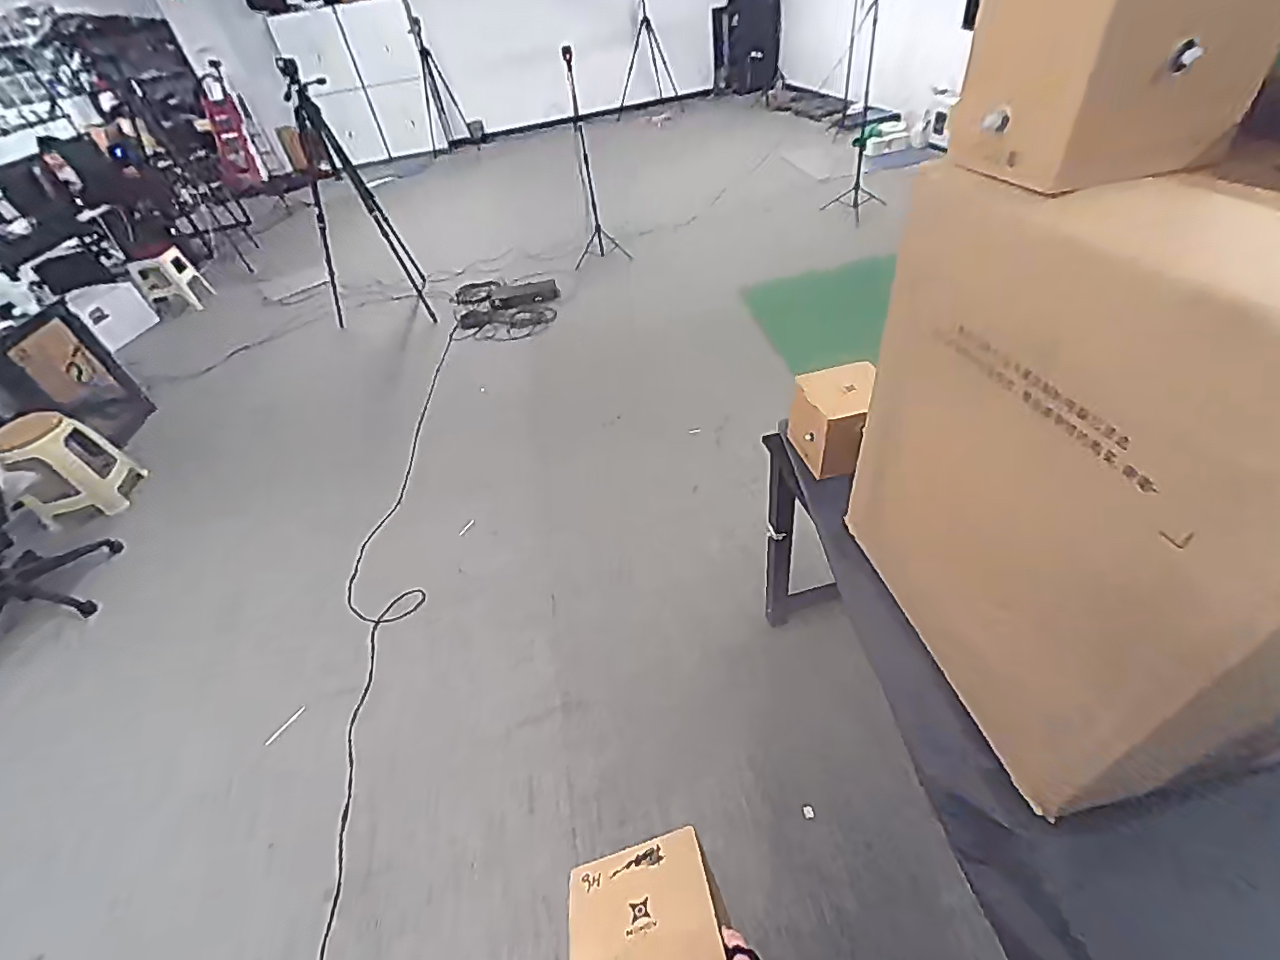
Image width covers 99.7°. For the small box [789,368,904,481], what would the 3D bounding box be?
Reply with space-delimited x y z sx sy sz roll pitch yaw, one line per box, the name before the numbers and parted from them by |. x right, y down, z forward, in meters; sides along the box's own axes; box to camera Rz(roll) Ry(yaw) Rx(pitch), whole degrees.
small box | 0.439 -0.118 1.187 0.179 0.176 0.168 -13 44 -7

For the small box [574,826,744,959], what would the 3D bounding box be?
small box | 0.031 0.552 0.614 0.168 0.176 0.179 -19 17 -2
